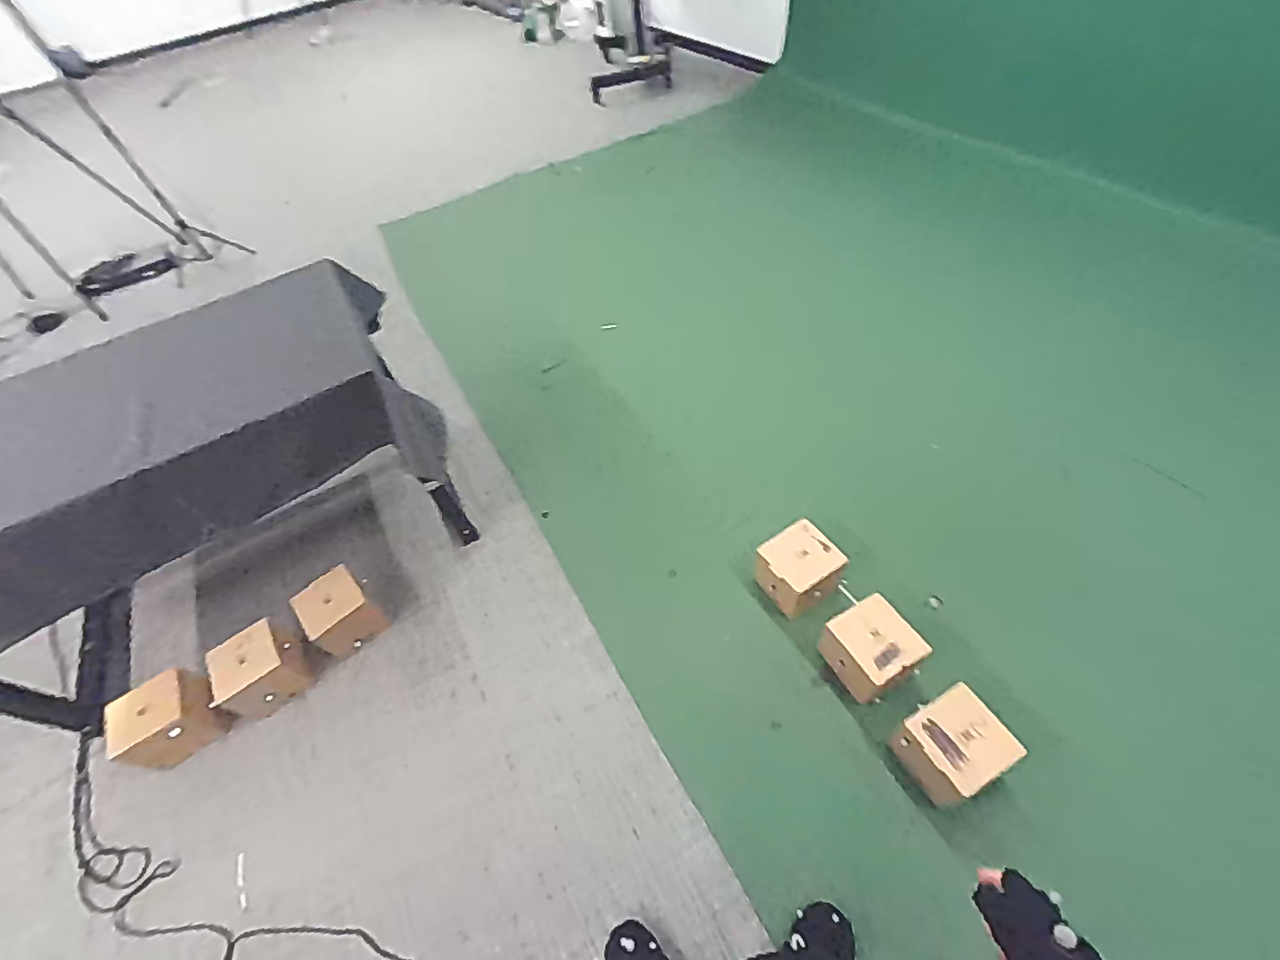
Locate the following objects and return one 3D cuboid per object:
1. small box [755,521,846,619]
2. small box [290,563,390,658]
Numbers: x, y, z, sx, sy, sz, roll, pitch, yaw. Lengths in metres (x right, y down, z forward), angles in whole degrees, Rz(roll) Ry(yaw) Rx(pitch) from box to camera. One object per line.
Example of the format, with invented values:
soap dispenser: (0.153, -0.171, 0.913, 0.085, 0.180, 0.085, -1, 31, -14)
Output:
small box: (0.434, 0.252, 1.486, 0.179, 0.176, 0.168, -30, 54, -13)
small box: (-0.869, 0.383, 1.575, 0.168, 0.176, 0.179, -38, 56, -20)
